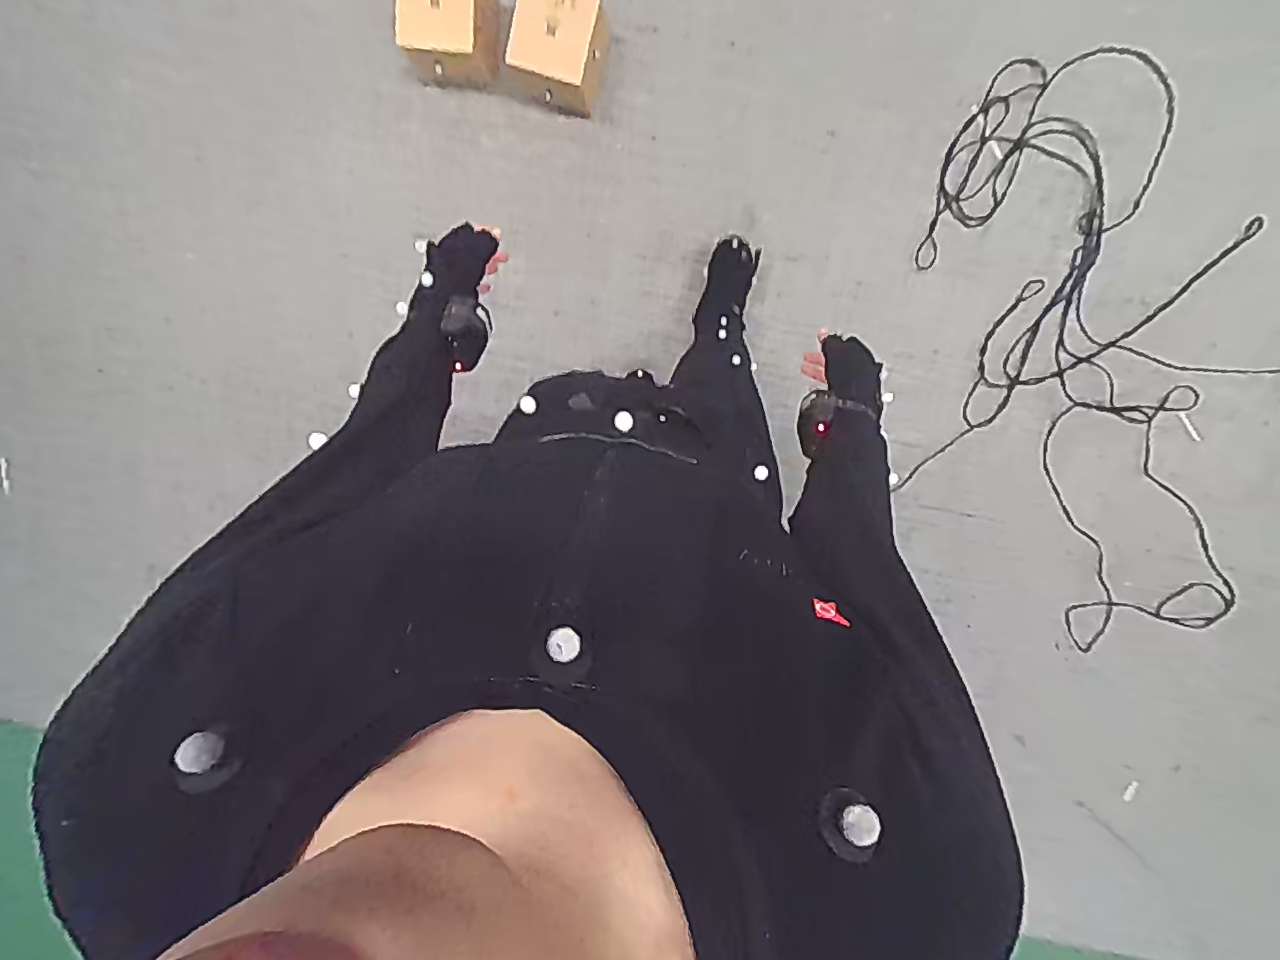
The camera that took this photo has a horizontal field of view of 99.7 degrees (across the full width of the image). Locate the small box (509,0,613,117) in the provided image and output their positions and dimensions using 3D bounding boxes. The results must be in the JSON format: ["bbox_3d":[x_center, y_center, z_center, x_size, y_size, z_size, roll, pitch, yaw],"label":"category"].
[{"bbox_3d":[-0.163,-0.928,1.169,0.168,0.176,0.179,17,104,-1],"label":"small box"}]

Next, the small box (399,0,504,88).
[{"bbox_3d":[-0.402,-0.987,1.173,0.168,0.176,0.179,7,104,2],"label":"small box"}]
